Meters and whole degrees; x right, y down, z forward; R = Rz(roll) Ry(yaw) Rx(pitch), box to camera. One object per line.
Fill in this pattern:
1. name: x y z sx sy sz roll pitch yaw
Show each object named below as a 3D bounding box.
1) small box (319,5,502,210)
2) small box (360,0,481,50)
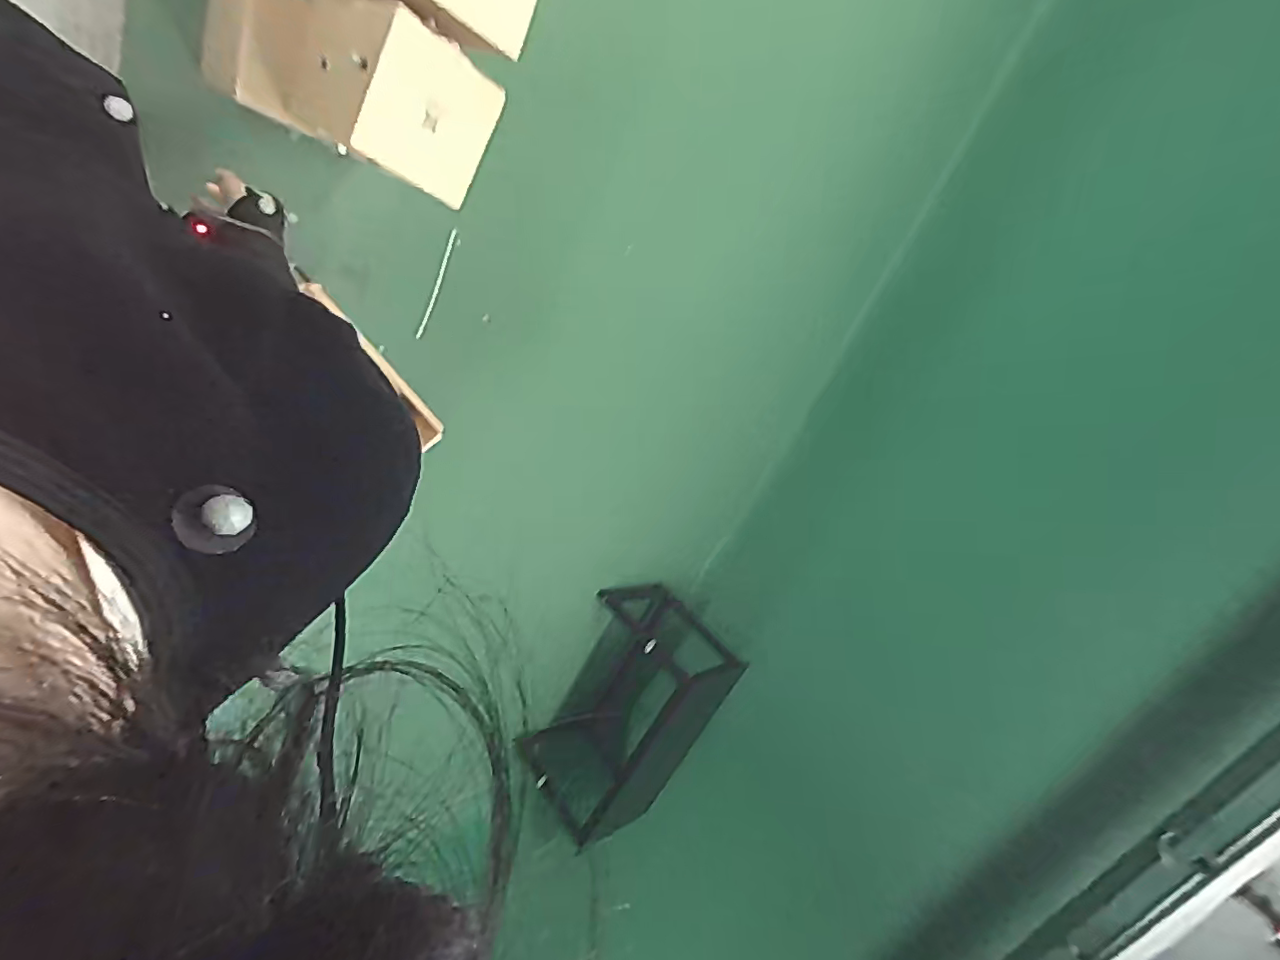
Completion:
1. small box: -0.338 -0.532 0.782 0.168 0.176 0.179 12 111 -51
2. small box: -0.349 -0.794 0.810 0.179 0.176 0.168 -1 122 -48
